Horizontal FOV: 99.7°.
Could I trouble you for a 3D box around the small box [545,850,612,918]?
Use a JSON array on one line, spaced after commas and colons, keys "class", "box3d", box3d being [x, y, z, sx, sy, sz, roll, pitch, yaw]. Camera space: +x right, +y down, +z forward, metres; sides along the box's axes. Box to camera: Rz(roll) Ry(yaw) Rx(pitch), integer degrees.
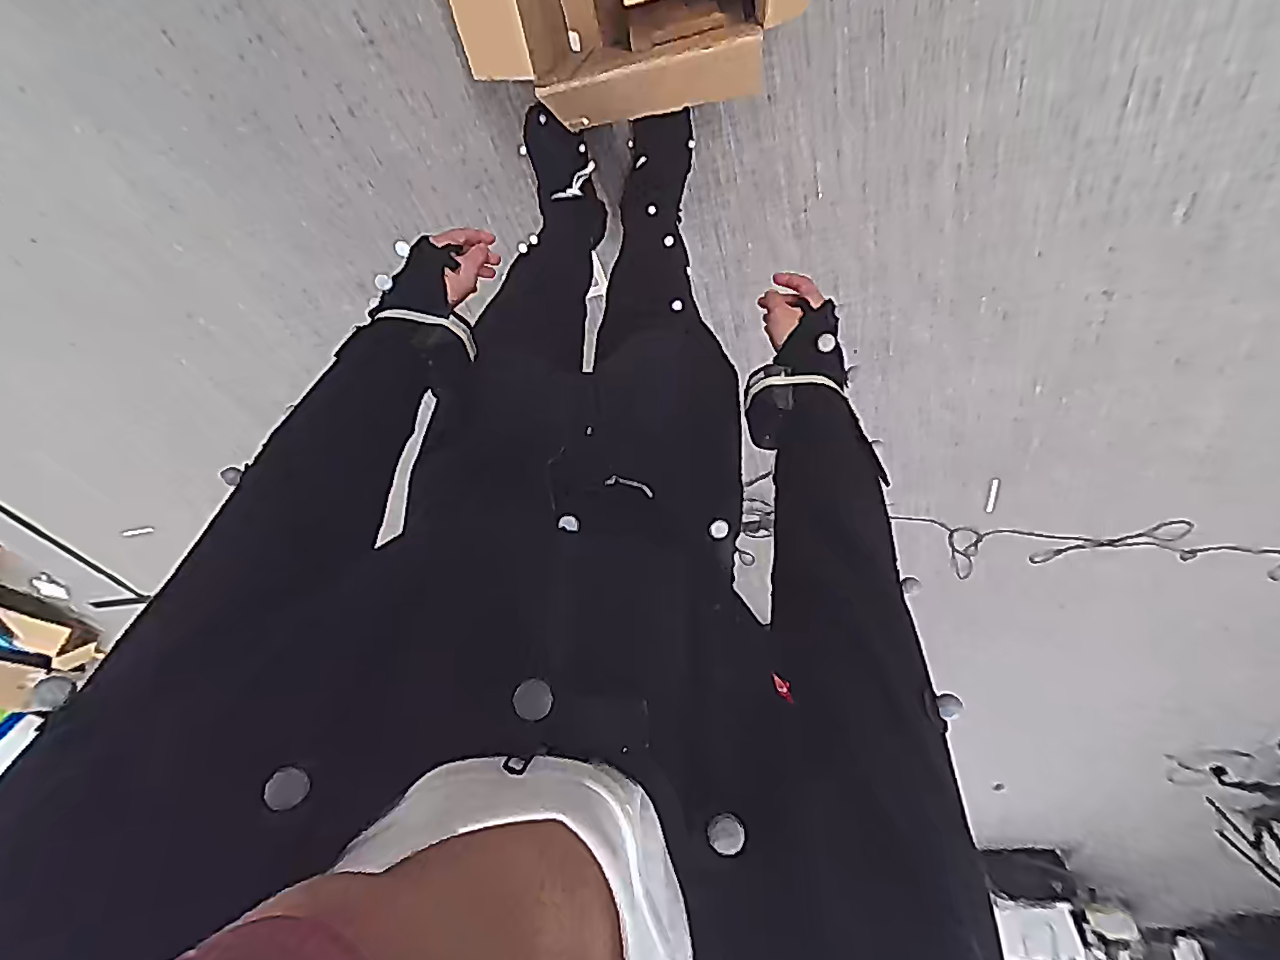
[{"class": "small box", "box3d": [-0.209, 1.396, 1.865, 0.179, 0.176, 0.168, -8, 134, 13]}]
